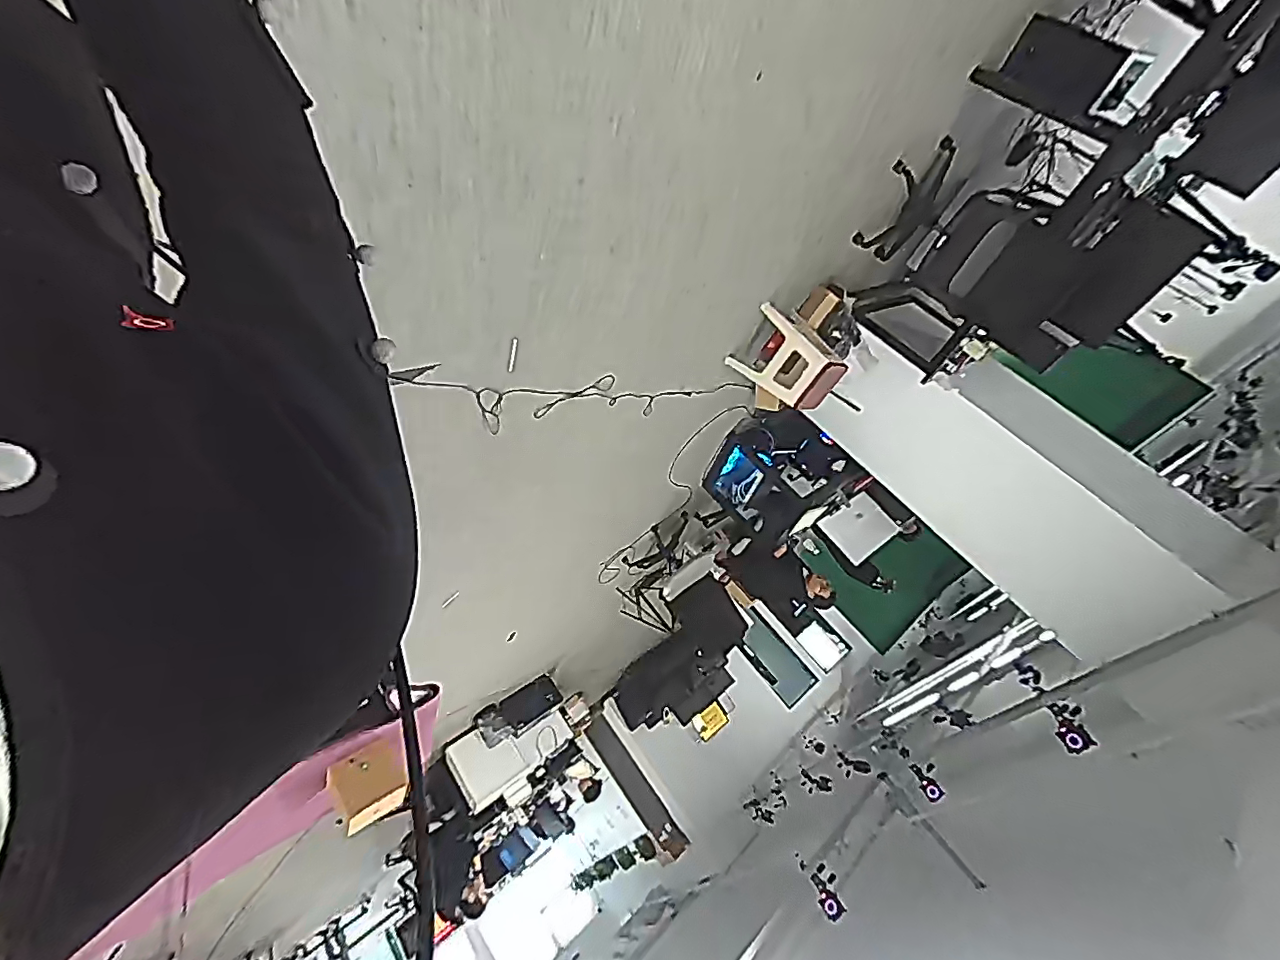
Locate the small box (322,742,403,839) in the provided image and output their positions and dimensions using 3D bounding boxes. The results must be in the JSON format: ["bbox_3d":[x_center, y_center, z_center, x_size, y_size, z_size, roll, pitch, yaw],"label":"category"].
[{"bbox_3d":[-0.841,0.930,1.633,0.168,0.176,0.179,-19,147,-44],"label":"small box"}]
